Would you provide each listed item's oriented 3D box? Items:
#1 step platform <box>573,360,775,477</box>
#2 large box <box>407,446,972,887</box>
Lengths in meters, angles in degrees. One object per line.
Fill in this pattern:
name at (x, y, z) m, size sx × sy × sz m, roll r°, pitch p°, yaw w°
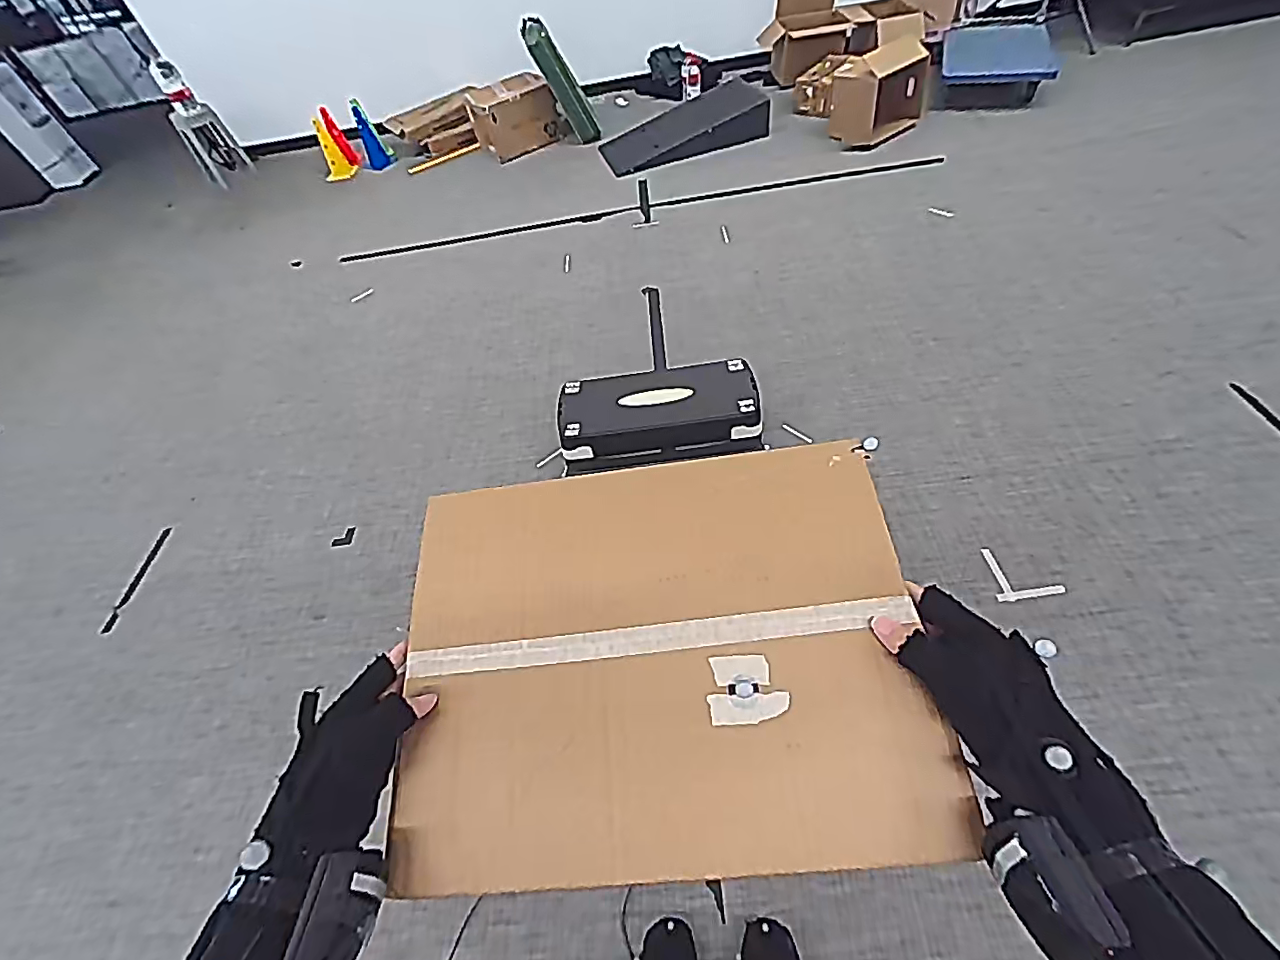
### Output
step platform at (0.111, -0.216, 1.866) m, size 0.684 × 0.204 × 0.286 m, roll -7°, pitch 52°, yaw 3°
large box at (0.033, 0.199, 0.573) m, size 0.408 × 0.320 × 0.320 m, roll -8°, pitch 62°, yaw 5°
